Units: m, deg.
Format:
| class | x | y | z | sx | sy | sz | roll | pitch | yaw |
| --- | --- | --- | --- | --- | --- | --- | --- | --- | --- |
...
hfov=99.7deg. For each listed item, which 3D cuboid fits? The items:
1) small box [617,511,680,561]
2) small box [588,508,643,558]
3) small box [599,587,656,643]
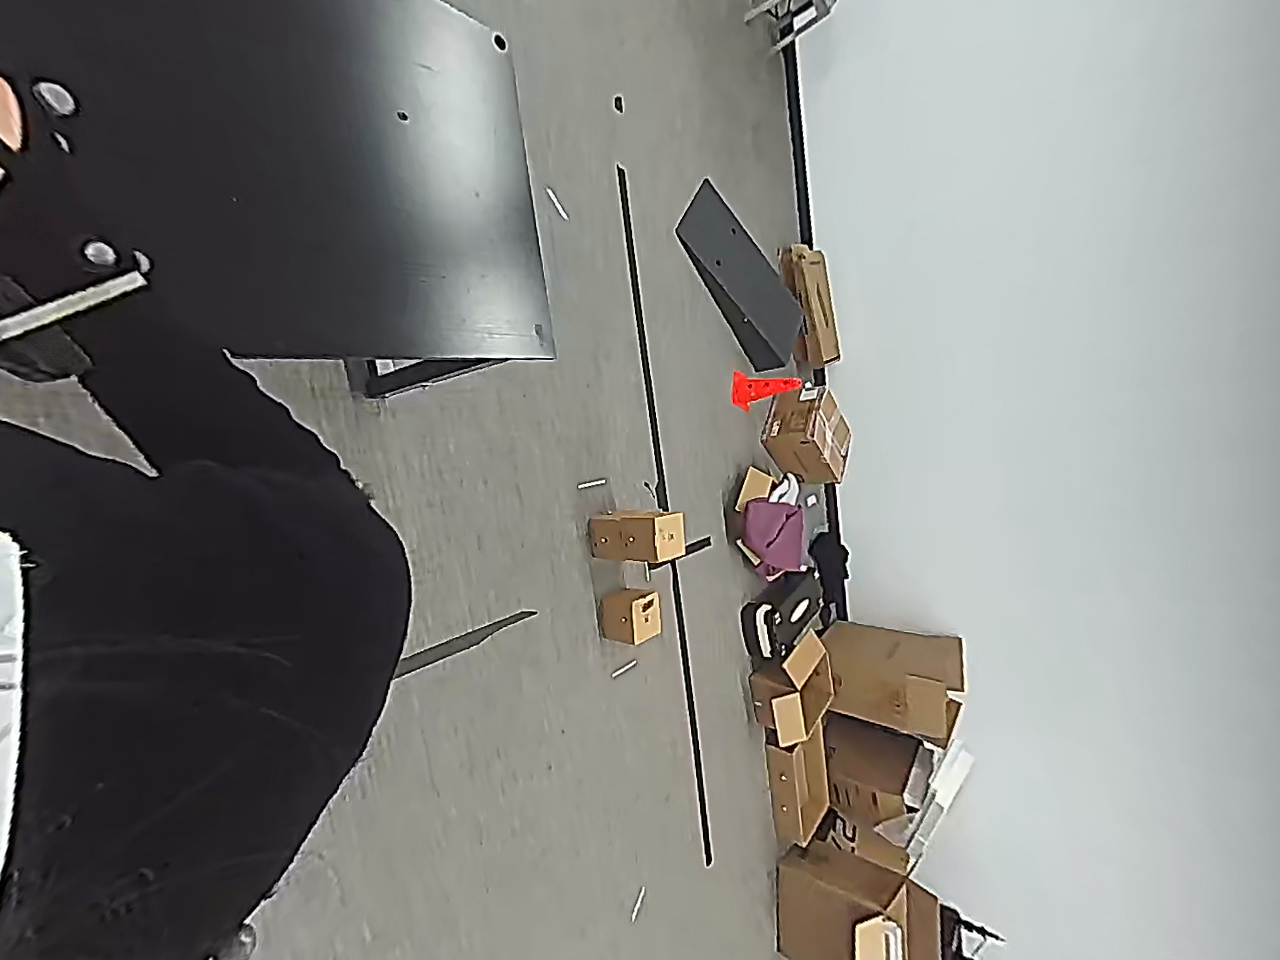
| class | x | y | z | sx | sy | sz | roll | pitch | yaw |
| --- | --- | --- | --- | --- | --- | --- | --- | --- | --- |
| small box | 0.033 | 0.208 | 2.060 | 0.179 | 0.176 | 0.168 | -7 | 93 | -49 |
| small box | -0.095 | 0.212 | 2.164 | 0.179 | 0.176 | 0.168 | -15 | 99 | -49 |
| small box | -0.054 | 0.542 | 2.200 | 0.168 | 0.176 | 0.179 | -9 | 97 | -49 |
